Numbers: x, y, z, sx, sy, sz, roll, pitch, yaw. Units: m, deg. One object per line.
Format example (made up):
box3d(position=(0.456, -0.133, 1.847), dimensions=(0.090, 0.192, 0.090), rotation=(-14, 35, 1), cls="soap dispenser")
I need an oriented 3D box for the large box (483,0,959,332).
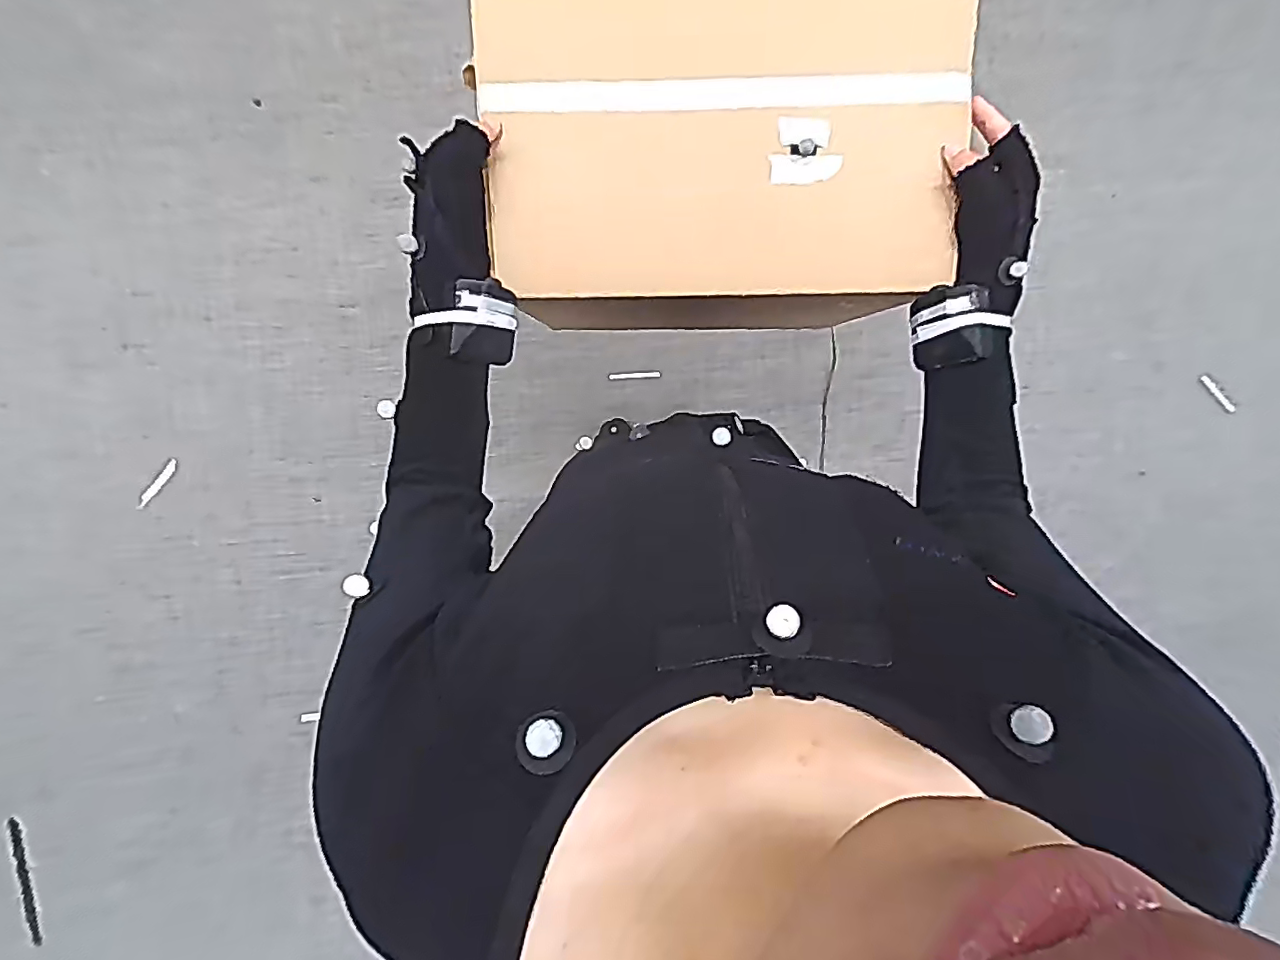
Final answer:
box3d(position=(0.067, -0.347, 0.611), dimensions=(0.408, 0.320, 0.320), rotation=(-1, 101, 0), cls="large box")
